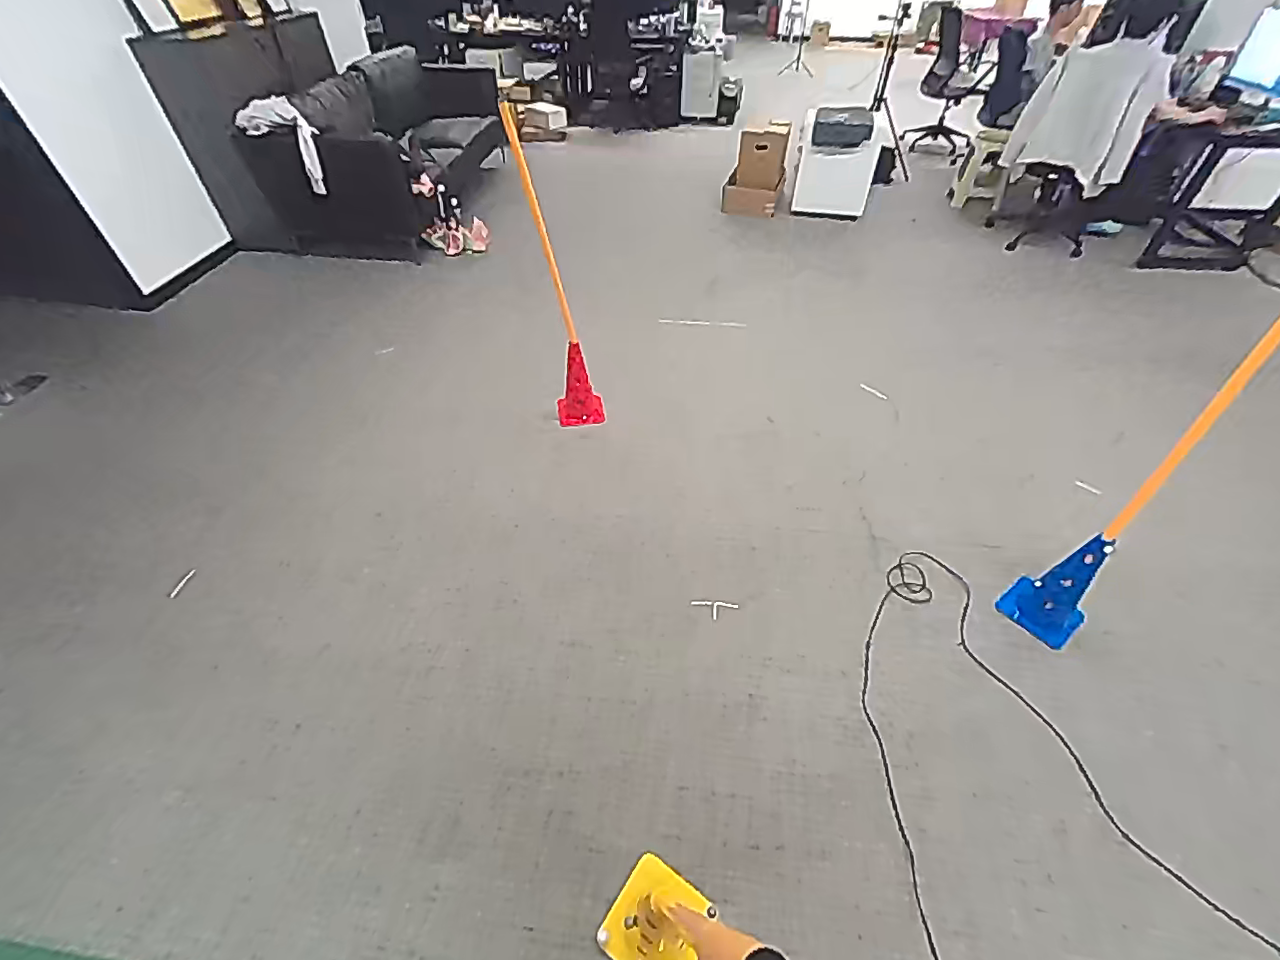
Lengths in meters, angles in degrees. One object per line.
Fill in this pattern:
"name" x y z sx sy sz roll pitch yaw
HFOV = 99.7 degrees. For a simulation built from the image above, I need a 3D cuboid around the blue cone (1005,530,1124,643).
"blue cone" 1.262 0.278 1.574 0.193 0.380 0.192 -29 51 -28
